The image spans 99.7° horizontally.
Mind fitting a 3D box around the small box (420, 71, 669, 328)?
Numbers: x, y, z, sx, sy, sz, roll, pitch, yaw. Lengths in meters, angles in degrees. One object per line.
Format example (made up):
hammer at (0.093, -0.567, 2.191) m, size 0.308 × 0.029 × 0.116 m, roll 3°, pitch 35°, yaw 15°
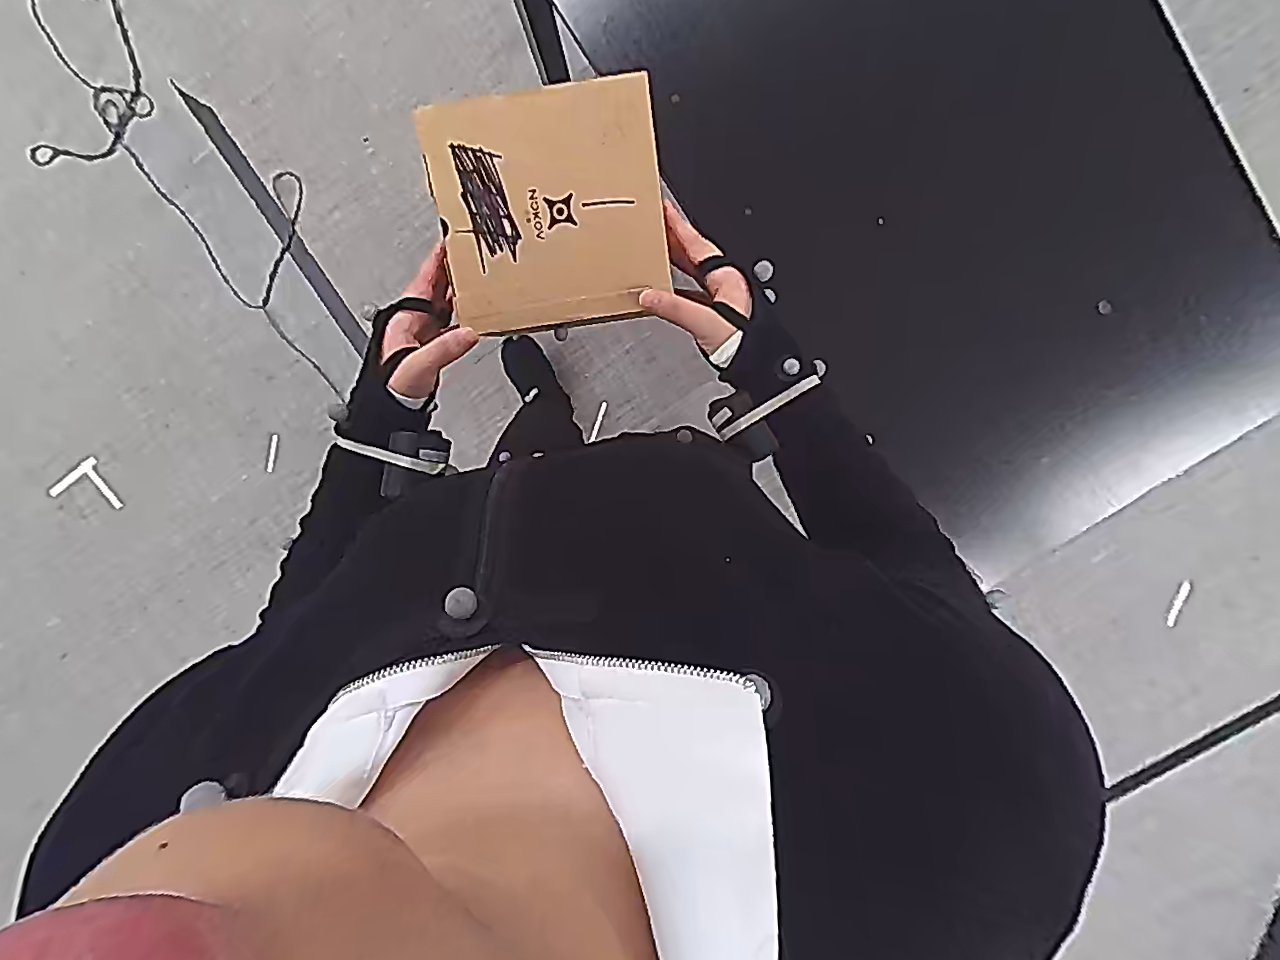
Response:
small box at (-0.071, -0.234, 0.497) m, size 0.179 × 0.176 × 0.168 m, roll -8°, pitch 105°, yaw 0°
